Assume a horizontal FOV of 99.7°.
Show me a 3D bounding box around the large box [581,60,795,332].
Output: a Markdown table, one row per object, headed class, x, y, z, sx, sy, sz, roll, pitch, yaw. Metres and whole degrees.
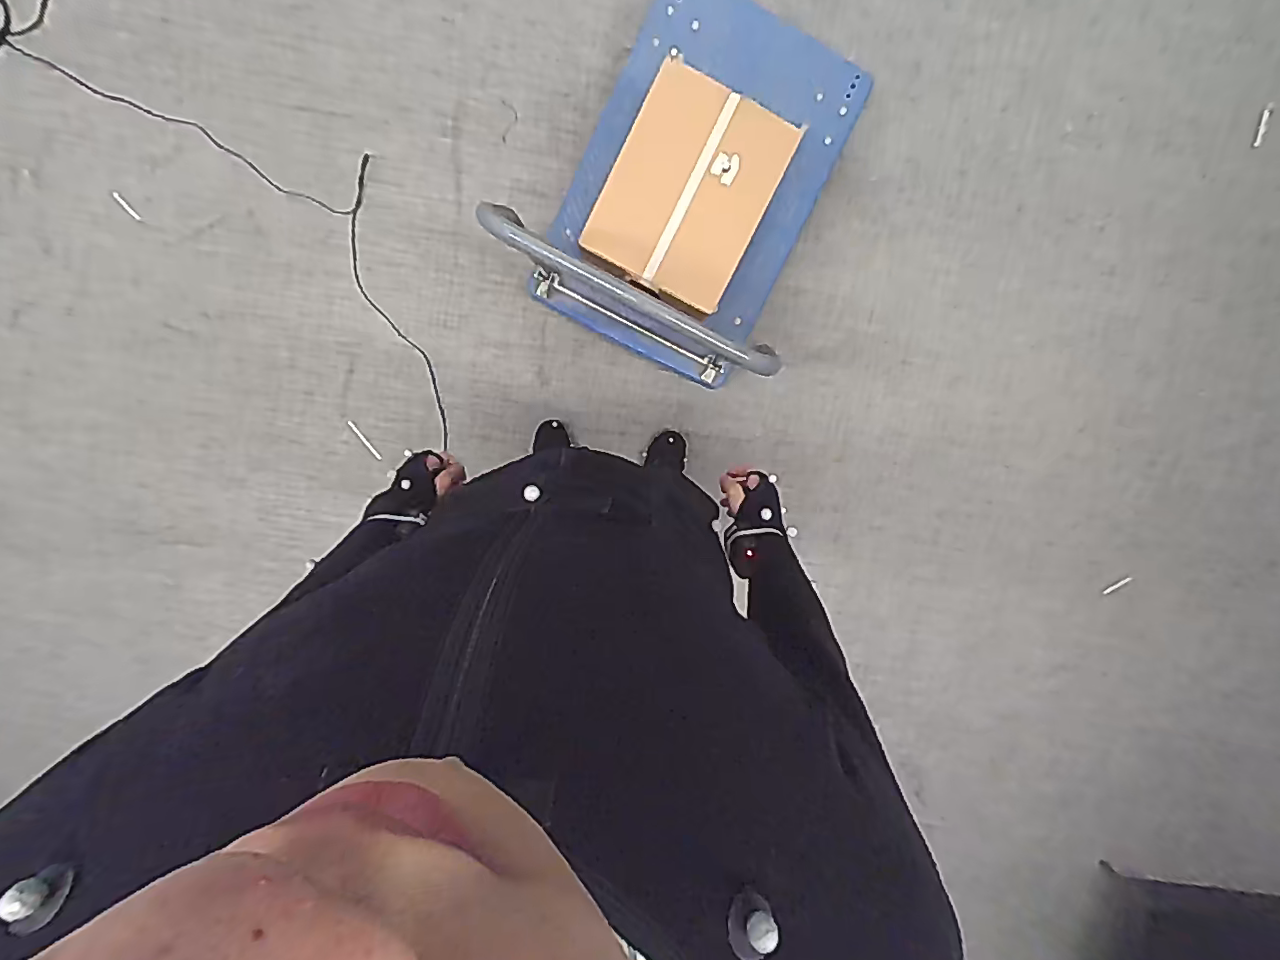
| class | x | y | z | sx | sy | sz | roll | pitch | yaw |
| --- | --- | --- | --- | --- | --- | --- | --- | --- | --- |
| large box | 0.092 | -0.612 | 1.253 | 0.320 | 0.320 | 0.408 | 27 | 94 | -6 |
